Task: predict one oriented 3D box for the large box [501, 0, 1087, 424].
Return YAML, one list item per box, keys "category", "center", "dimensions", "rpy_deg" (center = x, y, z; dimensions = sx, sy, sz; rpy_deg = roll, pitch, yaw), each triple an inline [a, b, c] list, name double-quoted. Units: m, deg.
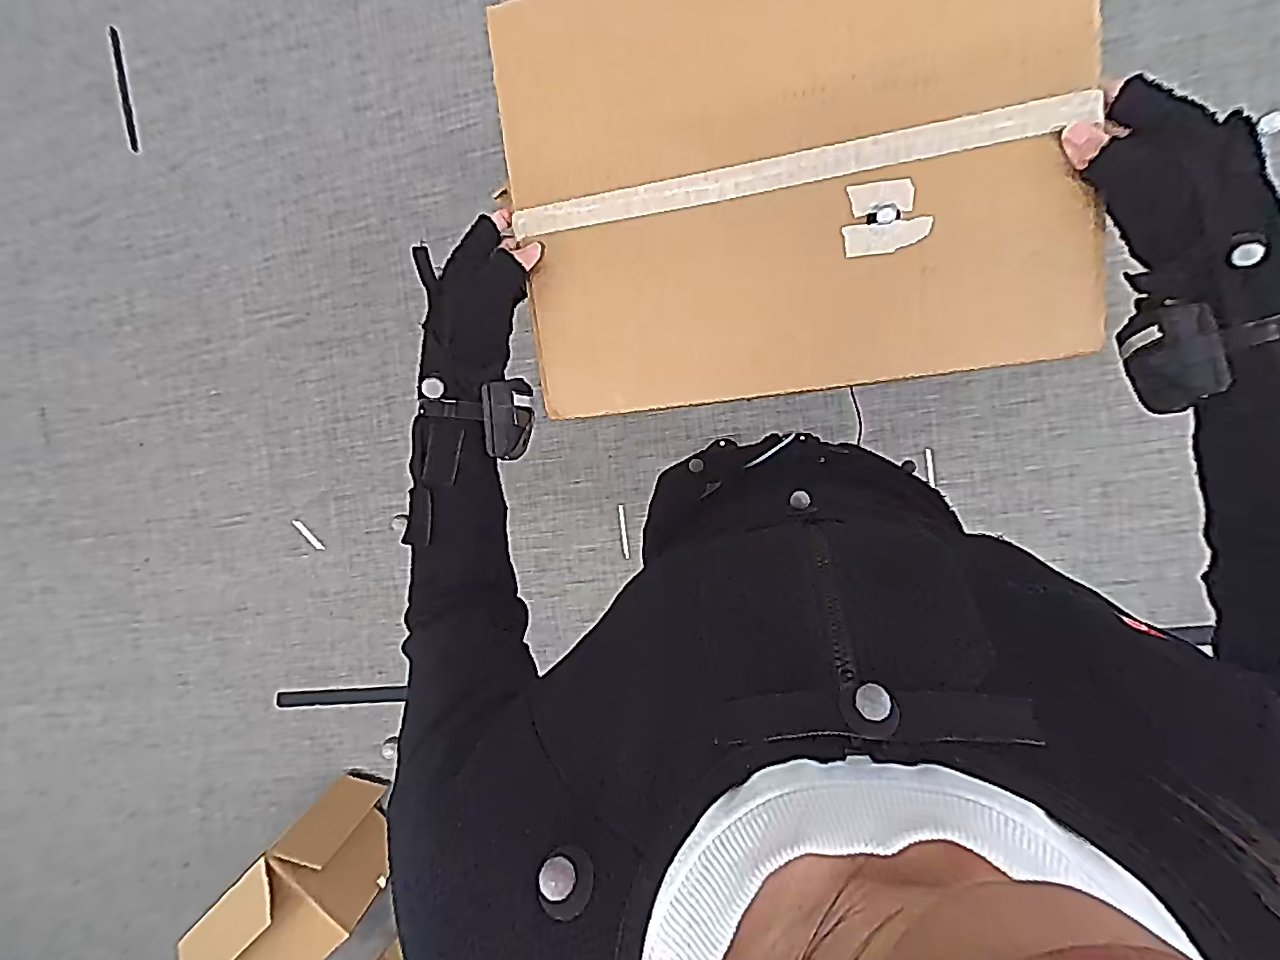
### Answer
- category: "large box"
  center: [0.127, -0.243, 0.549]
  dimensions: [0.408, 0.320, 0.320]
  rpy_deg: [-7, 98, 10]
